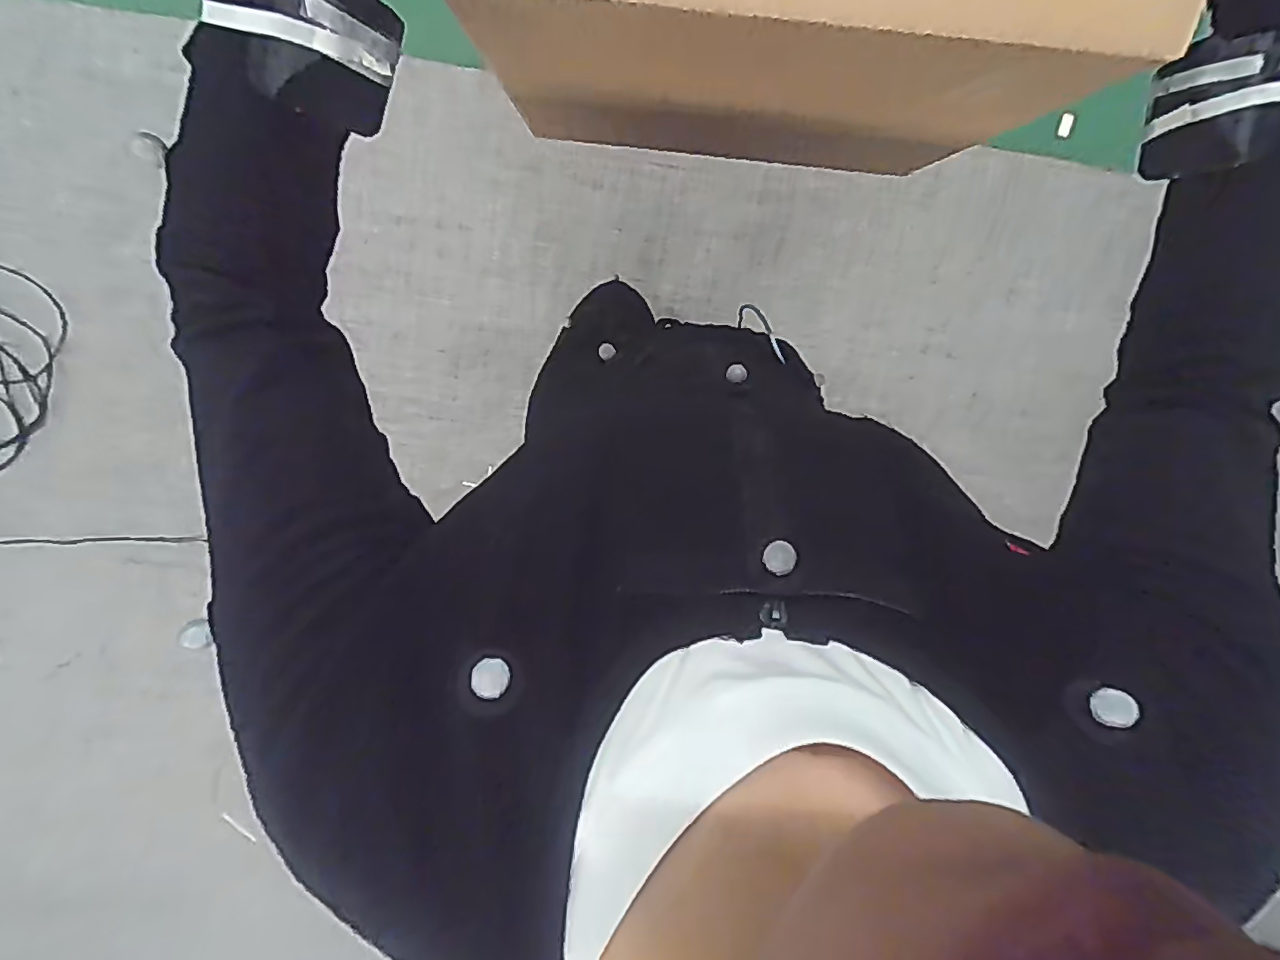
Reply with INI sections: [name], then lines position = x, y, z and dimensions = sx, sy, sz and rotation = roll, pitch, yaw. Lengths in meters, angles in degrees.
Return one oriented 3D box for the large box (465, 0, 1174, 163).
[large box]
position = 0.100, -0.445, 0.388
dimensions = 0.408, 0.320, 0.320
rotation = 4, 110, -2
